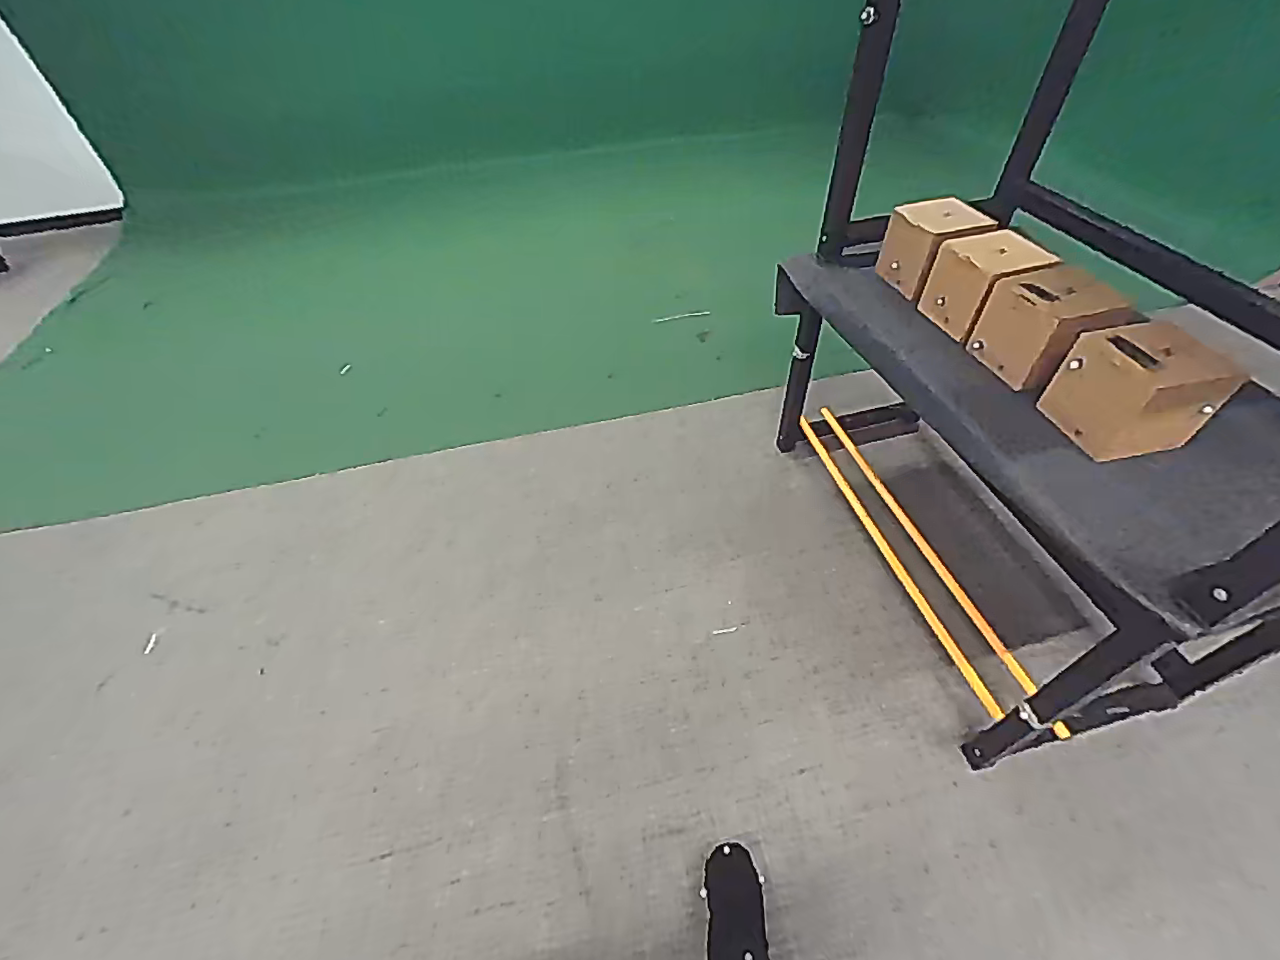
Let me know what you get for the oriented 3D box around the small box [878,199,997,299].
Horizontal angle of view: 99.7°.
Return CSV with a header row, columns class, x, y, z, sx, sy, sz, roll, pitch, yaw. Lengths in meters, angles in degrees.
class,x,y,z,sx,sy,sz,roll,pitch,yaw
small box,0.739,-0.582,1.366,0.179,0.176,0.168,-14,48,-8
